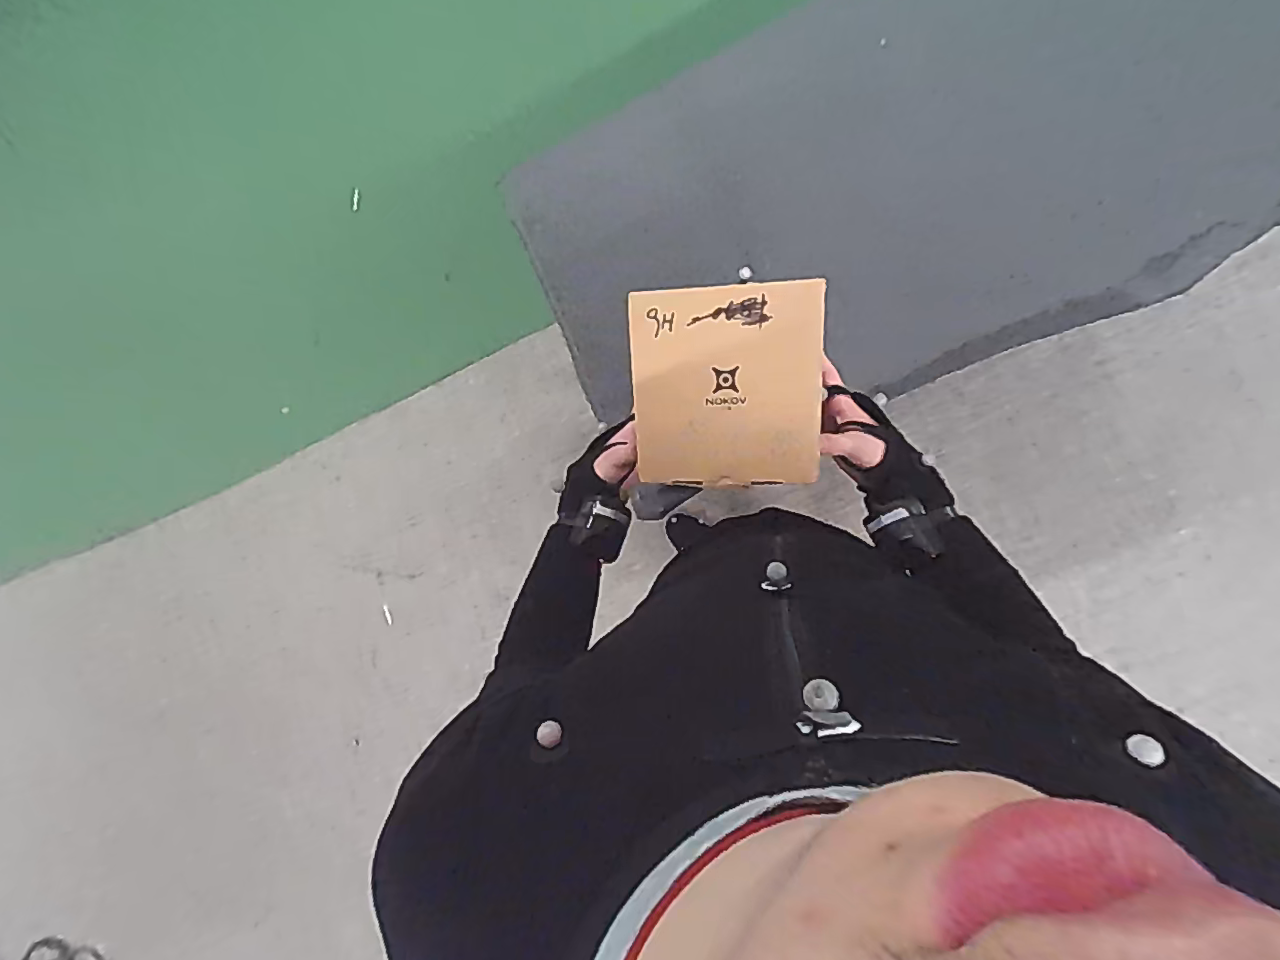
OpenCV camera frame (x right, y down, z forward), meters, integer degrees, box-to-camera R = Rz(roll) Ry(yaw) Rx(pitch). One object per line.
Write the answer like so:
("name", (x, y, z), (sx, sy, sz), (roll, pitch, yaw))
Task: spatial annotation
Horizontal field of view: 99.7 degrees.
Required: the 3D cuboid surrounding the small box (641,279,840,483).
("small box", (0.097, -0.105, 0.546), (0.168, 0.176, 0.179), (0, 107, 10))
